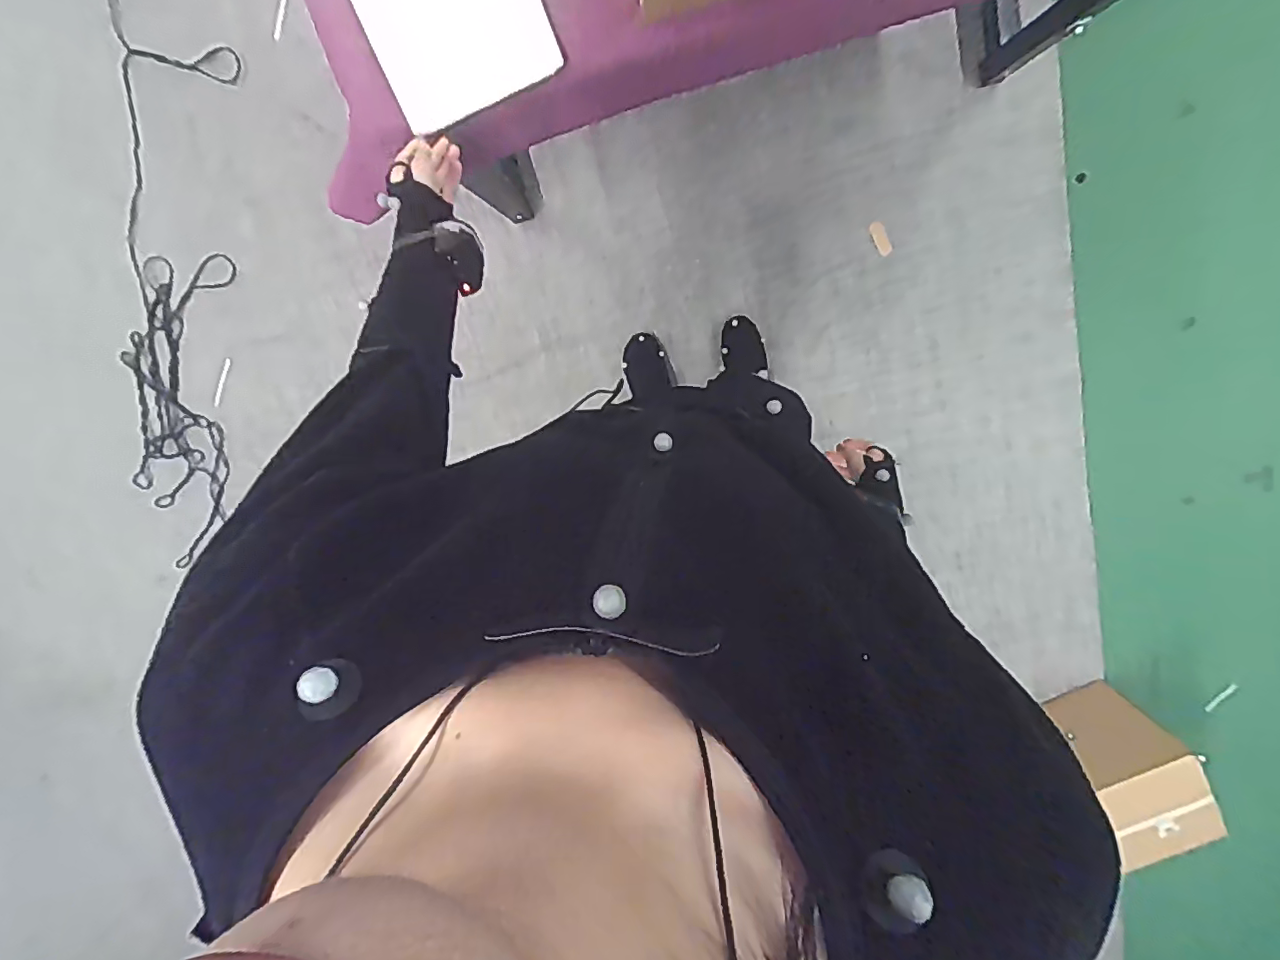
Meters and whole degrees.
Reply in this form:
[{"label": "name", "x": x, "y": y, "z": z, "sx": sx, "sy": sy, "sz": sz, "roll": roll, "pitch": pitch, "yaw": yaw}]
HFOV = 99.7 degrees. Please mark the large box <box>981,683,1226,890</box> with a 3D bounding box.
[{"label": "large box", "x": 1.326, "y": 0.882, "z": 1.586, "sx": 0.408, "sy": 0.320, "sz": 0.320, "roll": -29, "pitch": 104, "yaw": 8}]
